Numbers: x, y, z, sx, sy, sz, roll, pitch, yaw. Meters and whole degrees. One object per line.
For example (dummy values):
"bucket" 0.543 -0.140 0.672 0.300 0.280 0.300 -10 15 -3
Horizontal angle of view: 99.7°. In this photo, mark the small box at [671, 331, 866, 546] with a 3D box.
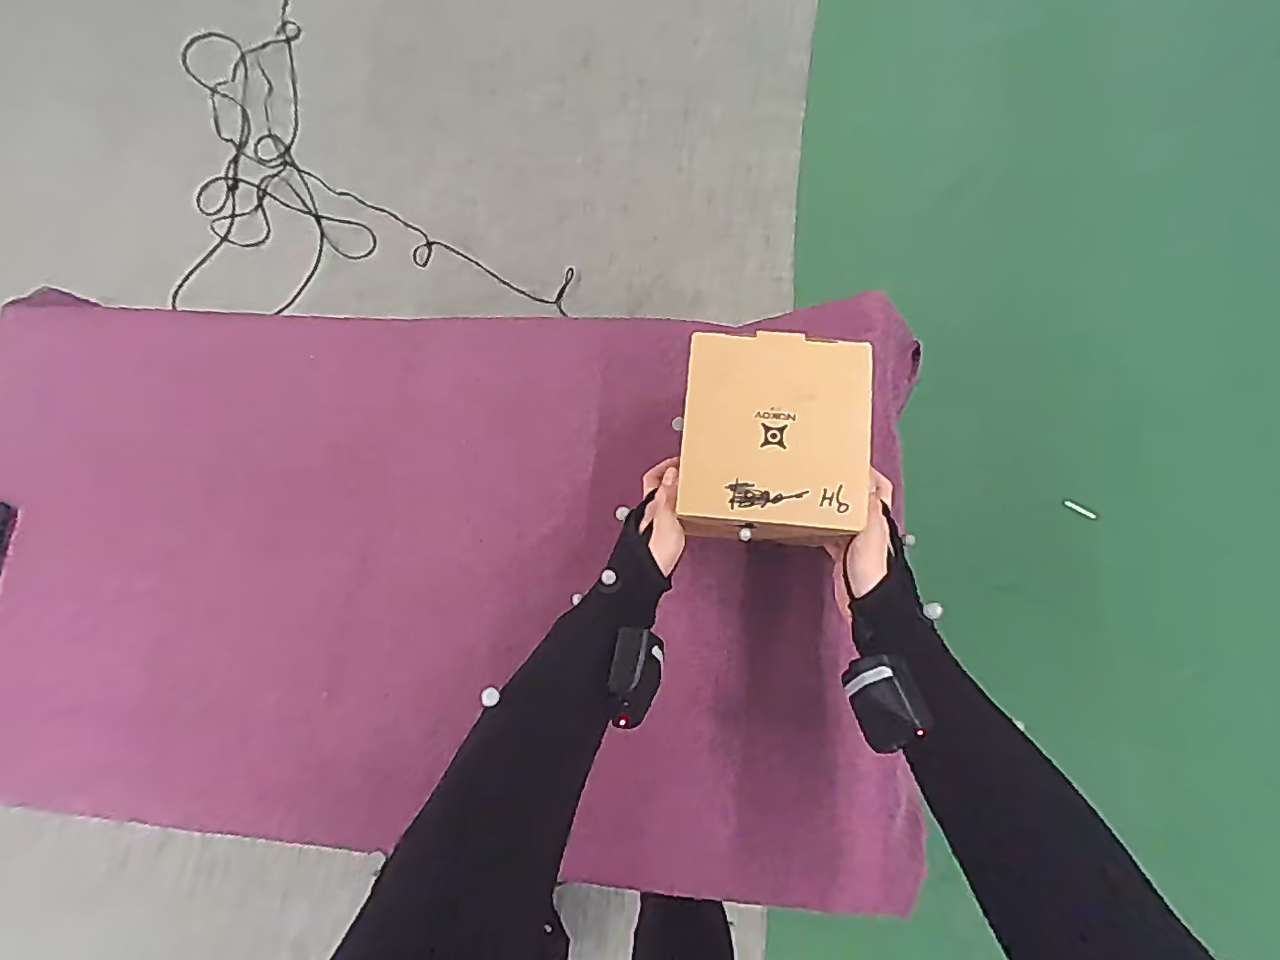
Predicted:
"small box" 0.123 -0.032 0.559 0.168 0.176 0.179 5 79 7
